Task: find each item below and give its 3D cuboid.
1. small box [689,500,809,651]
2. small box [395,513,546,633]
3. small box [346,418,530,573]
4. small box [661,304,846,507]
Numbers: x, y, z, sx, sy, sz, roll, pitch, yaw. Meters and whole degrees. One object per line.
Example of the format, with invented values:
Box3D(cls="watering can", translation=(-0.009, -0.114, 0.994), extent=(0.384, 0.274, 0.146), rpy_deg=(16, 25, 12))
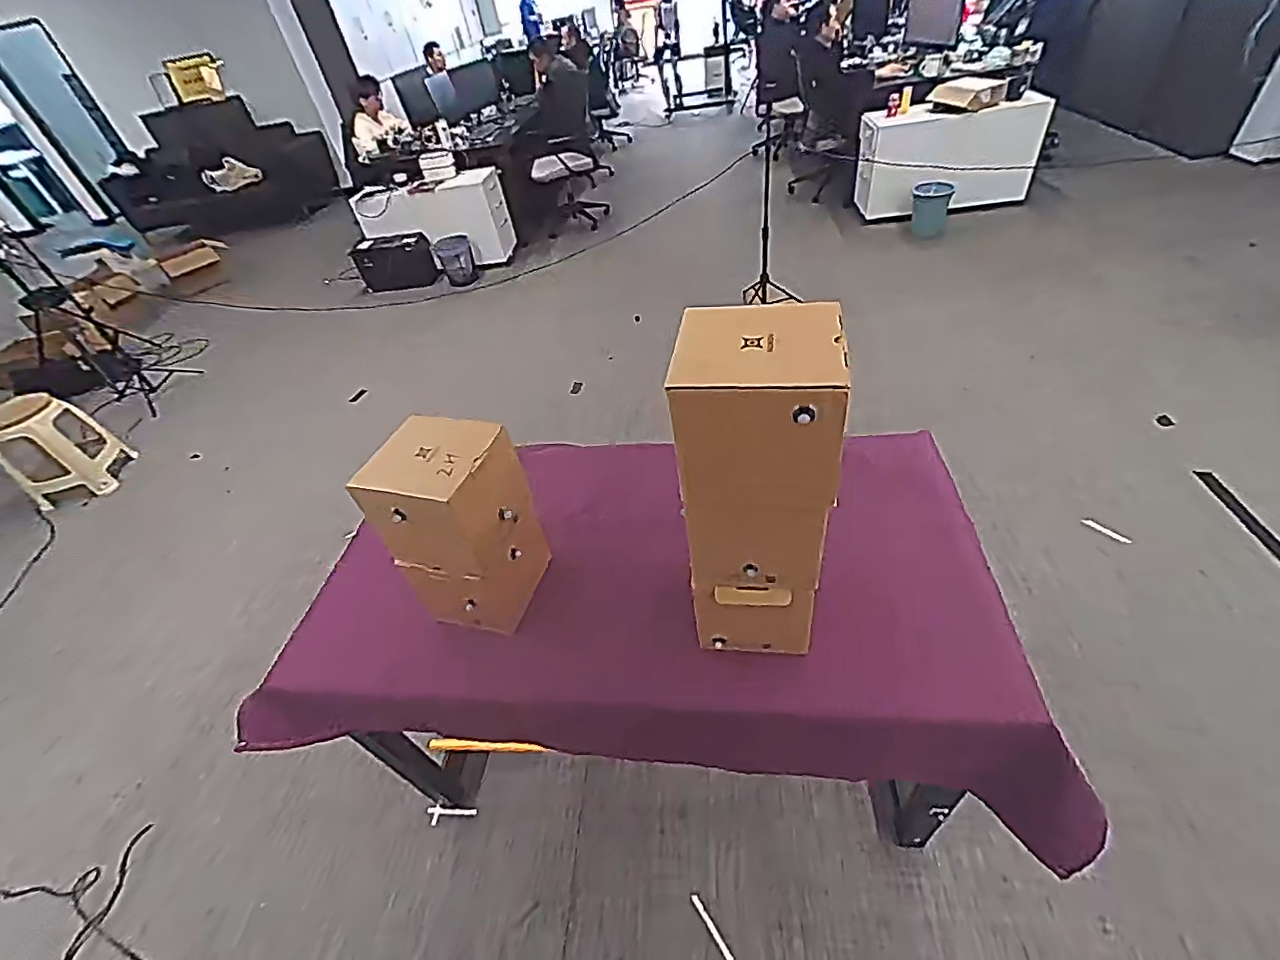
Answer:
Box3D(cls="small box", translation=(0.172, 0.148, 0.846), extent=(0.168, 0.176, 0.179), rpy_deg=(0, 43, 11))
Box3D(cls="small box", translation=(-0.282, 0.143, 0.948), extent=(0.168, 0.176, 0.179), rpy_deg=(6, 45, 17))
Box3D(cls="small box", translation=(-0.298, 0.024, 0.836), extent=(0.179, 0.176, 0.168), rpy_deg=(7, 47, 17))
Box3D(cls="small box", translation=(0.131, -0.083, 0.619), extent=(0.179, 0.176, 0.168), rpy_deg=(2, 45, 13))
